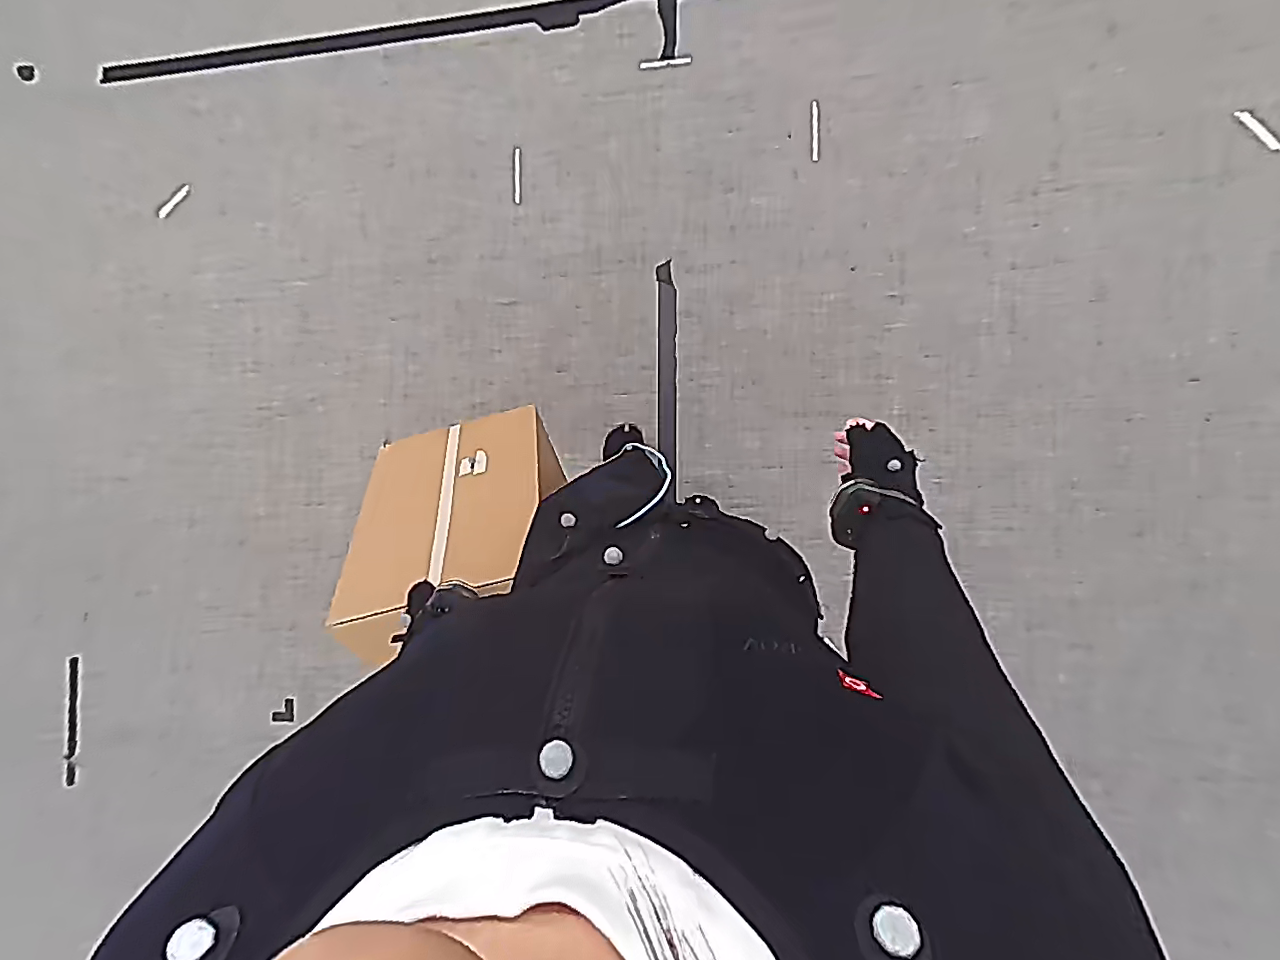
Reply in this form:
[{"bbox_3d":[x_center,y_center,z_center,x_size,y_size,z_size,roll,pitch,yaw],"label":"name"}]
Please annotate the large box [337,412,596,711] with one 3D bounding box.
[{"bbox_3d":[-0.284,0.142,1.005,0.320,0.408,0.320,-14,132,2],"label":"large box"}]
